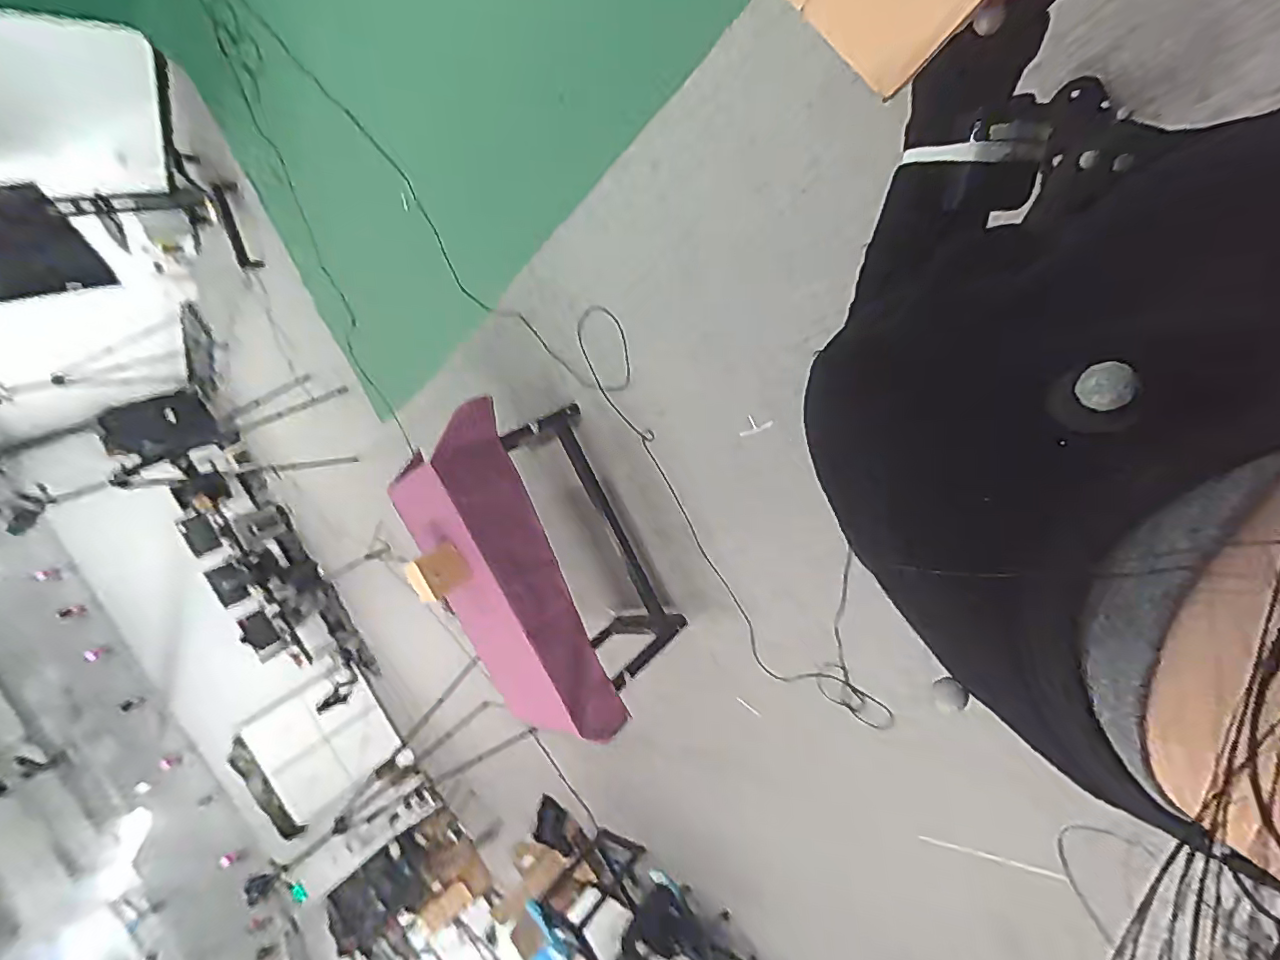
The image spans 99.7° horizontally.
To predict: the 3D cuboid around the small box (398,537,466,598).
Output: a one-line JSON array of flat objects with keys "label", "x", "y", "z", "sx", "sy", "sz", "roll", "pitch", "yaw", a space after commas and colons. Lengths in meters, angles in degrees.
[{"label": "small box", "x": -0.821, "y": 0.347, "z": 2.146, "sx": 0.168, "sy": 0.176, "sz": 0.179, "roll": -18, "pitch": 100, "yaw": 49}]
